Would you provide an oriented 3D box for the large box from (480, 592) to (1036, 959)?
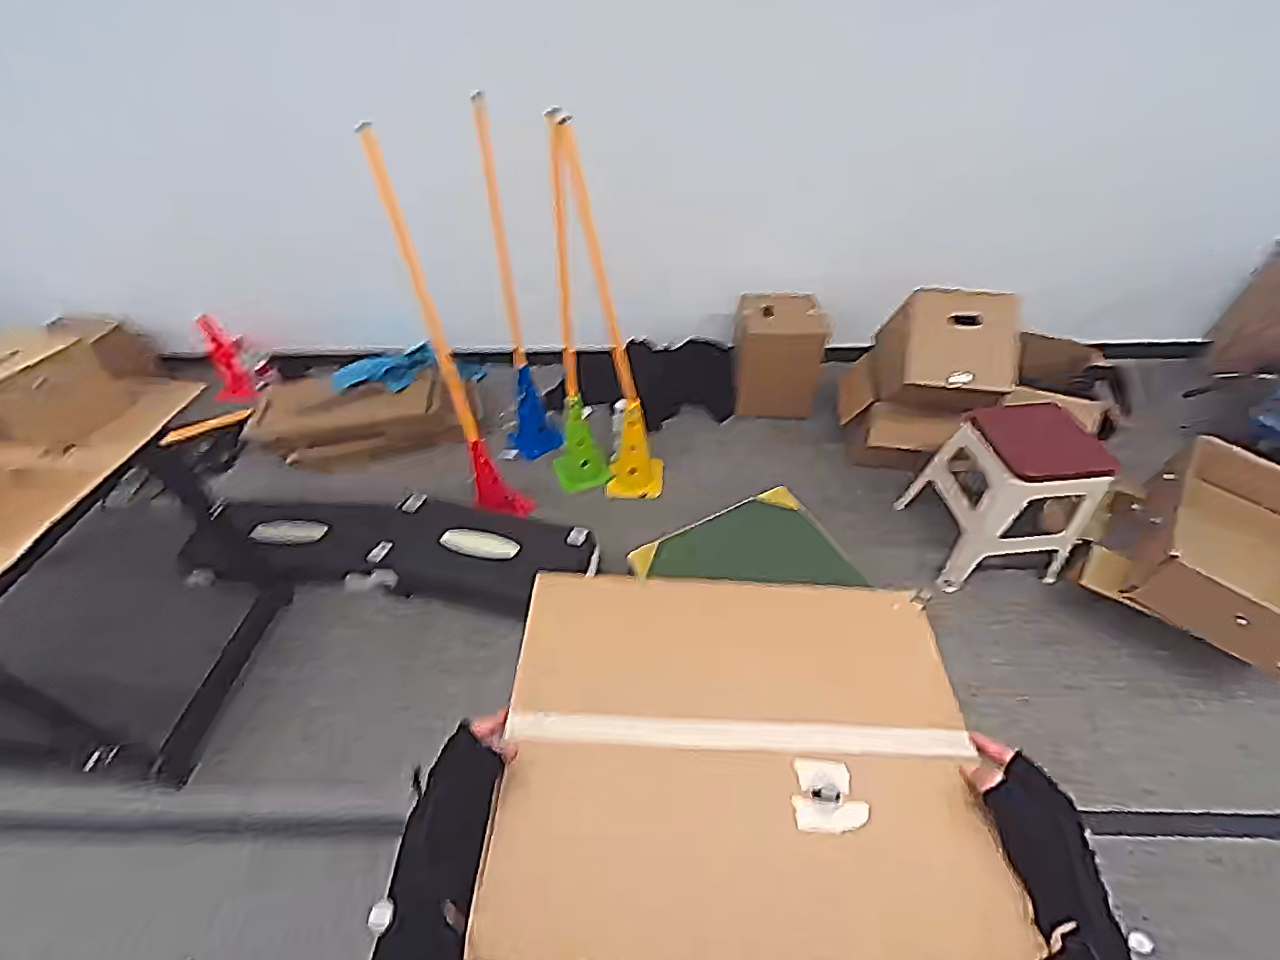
[{"bbox_3d":[0.083,0.342,0.583,0.408,0.320,0.320,3,47,1],"label":"large box"}]
